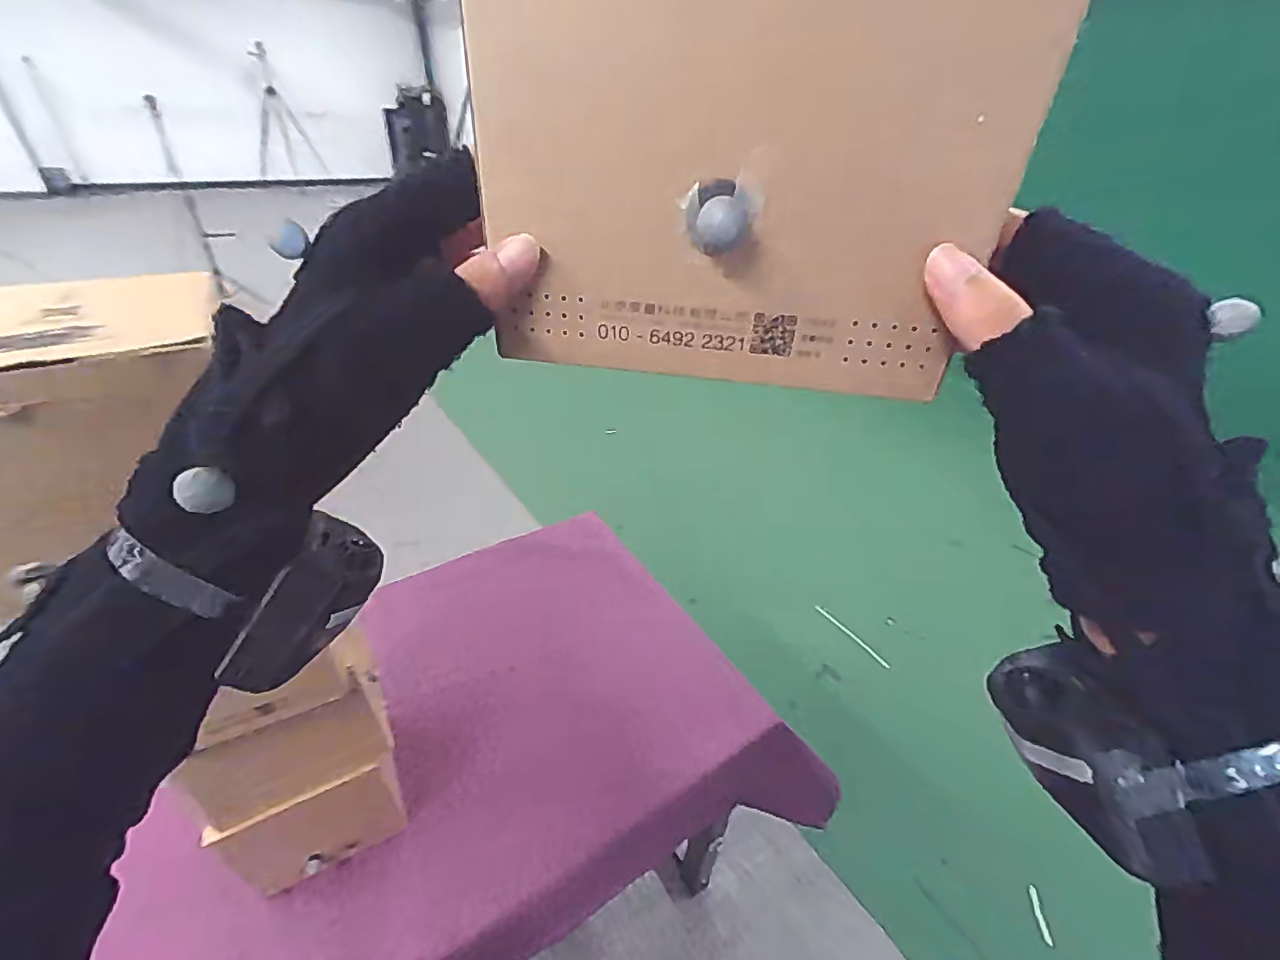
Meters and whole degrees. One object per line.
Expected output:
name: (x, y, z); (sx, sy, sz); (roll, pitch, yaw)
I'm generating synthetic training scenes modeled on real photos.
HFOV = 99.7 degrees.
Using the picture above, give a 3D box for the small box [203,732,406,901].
small box: (-0.407, 0.366, 0.673); (0.168, 0.176, 0.179); (-17, 41, -25)

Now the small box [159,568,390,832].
small box: (-0.394, 0.232, 0.584); (0.179, 0.176, 0.168); (-18, 41, -27)

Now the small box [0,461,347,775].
small box: (-0.373, 0.110, 0.474); (0.168, 0.176, 0.179); (-16, 39, -25)

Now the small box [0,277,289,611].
small box: (-0.375, -0.031, 0.388); (0.168, 0.176, 0.179); (-18, 40, -28)
